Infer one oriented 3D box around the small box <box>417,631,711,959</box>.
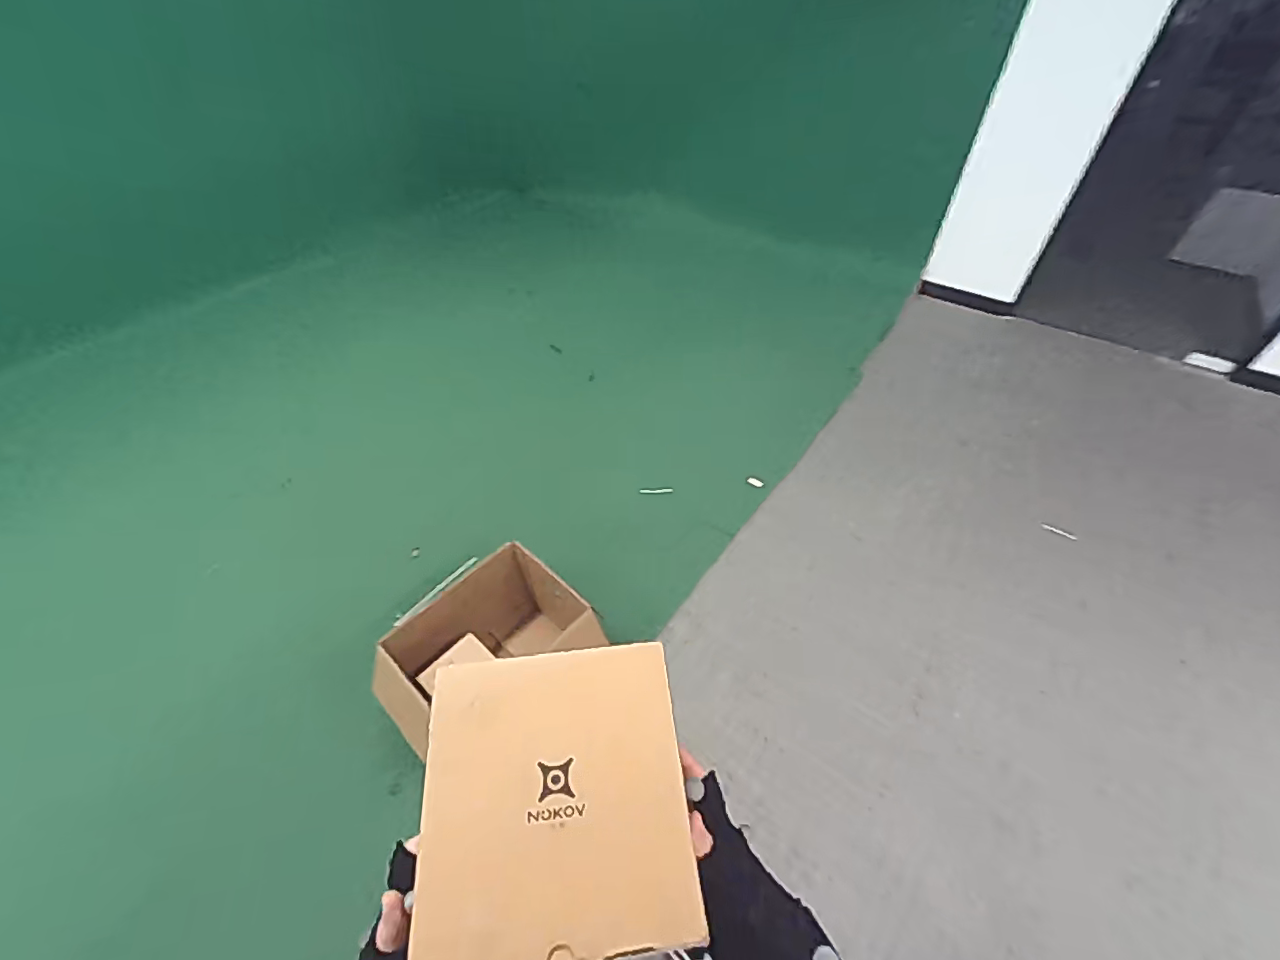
[{"bbox_3d":[-0.055,0.237,0.412,0.168,0.176,0.179,-5,54,-7],"label":"small box"}]
